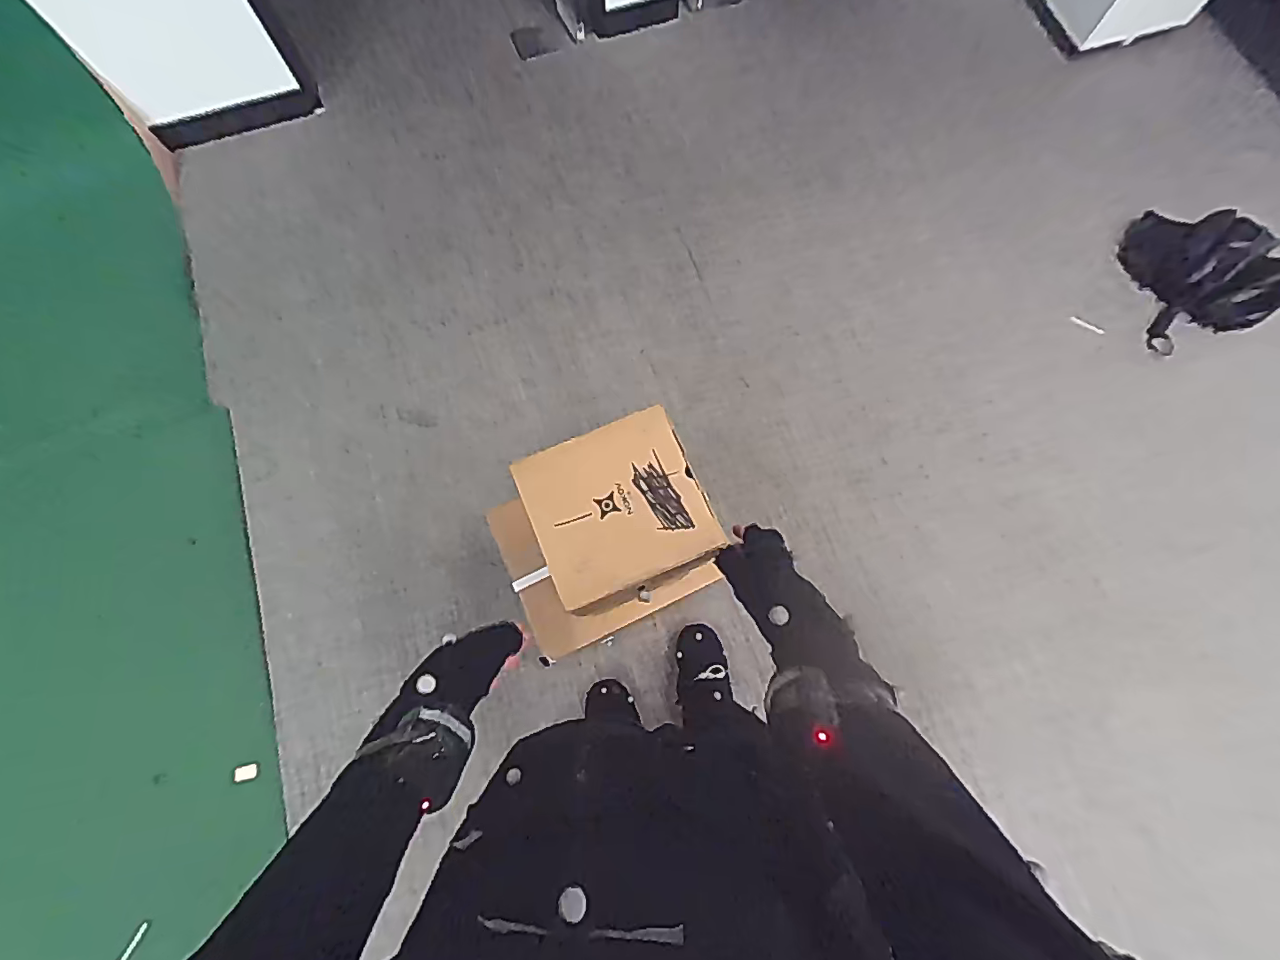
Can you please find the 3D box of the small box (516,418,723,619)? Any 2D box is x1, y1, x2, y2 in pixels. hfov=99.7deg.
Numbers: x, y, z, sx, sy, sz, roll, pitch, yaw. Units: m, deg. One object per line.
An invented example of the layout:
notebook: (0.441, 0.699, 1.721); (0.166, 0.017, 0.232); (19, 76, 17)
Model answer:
small box: (-0.024, 0.055, 0.641); (0.179, 0.176, 0.168); (-23, 75, -5)
